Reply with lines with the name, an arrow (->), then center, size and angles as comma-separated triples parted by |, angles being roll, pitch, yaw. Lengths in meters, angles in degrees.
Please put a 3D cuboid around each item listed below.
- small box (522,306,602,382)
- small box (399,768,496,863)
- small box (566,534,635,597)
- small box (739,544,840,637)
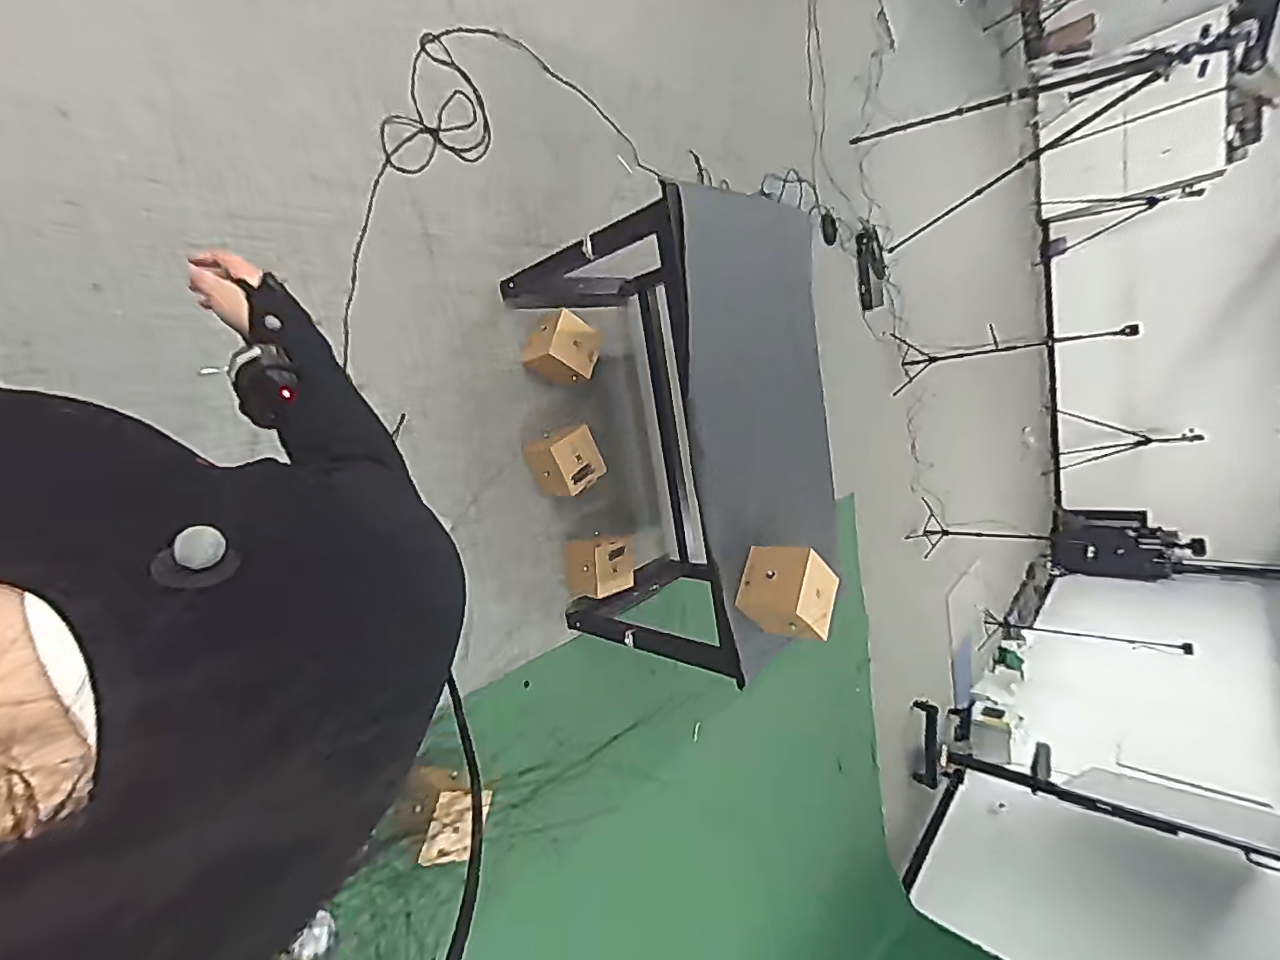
small box -> -0.257, -0.432, 1.763 | 0.179, 0.176, 0.168 | 27, 71, -42
small box -> -0.530, 0.906, 1.477 | 0.168, 0.176, 0.179 | 29, 69, -41
small box -> -0.140, 0.287, 1.867 | 0.168, 0.176, 0.179 | -11, 98, -44
small box -> 0.371, 0.271, 1.342 | 0.179, 0.176, 0.168 | 42, 59, -36
